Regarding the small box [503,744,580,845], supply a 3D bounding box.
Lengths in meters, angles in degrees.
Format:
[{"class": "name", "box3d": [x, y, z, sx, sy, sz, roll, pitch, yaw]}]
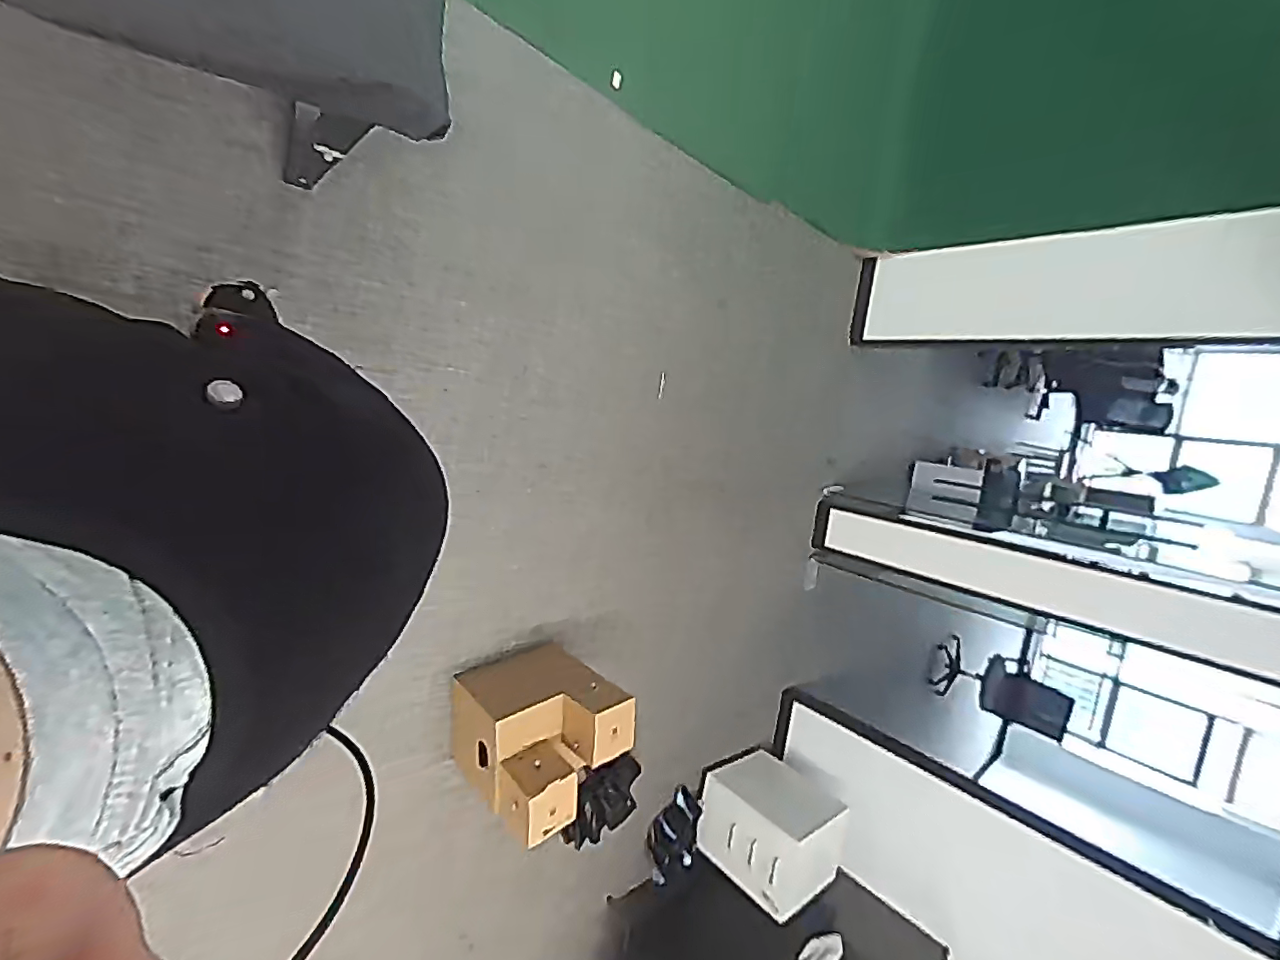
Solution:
[{"class": "small box", "box3d": [-0.295, 0.921, 1.609, 0.168, 0.176, 0.179, -10, 108, -41]}]

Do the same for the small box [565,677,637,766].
[{"class": "small box", "box3d": [-0.127, 0.764, 1.728, 0.168, 0.176, 0.179, -6, 100, -43]}]
